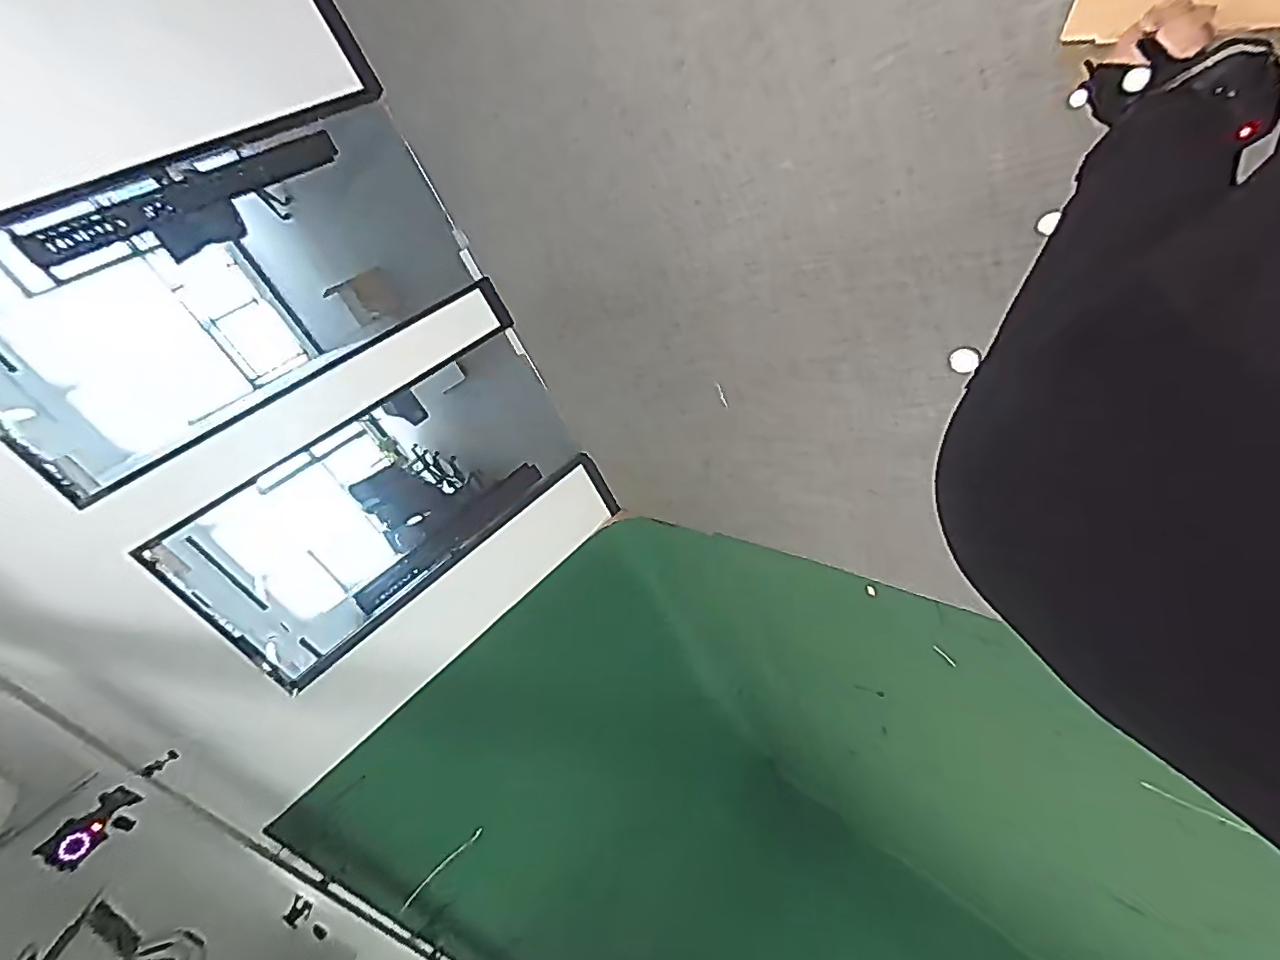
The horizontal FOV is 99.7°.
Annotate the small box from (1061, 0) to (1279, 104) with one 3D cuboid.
[{"bbox_3d":[0.522,-0.470,0.493,0.168,0.179,0.176,27,119,35],"label":"small box"}]
